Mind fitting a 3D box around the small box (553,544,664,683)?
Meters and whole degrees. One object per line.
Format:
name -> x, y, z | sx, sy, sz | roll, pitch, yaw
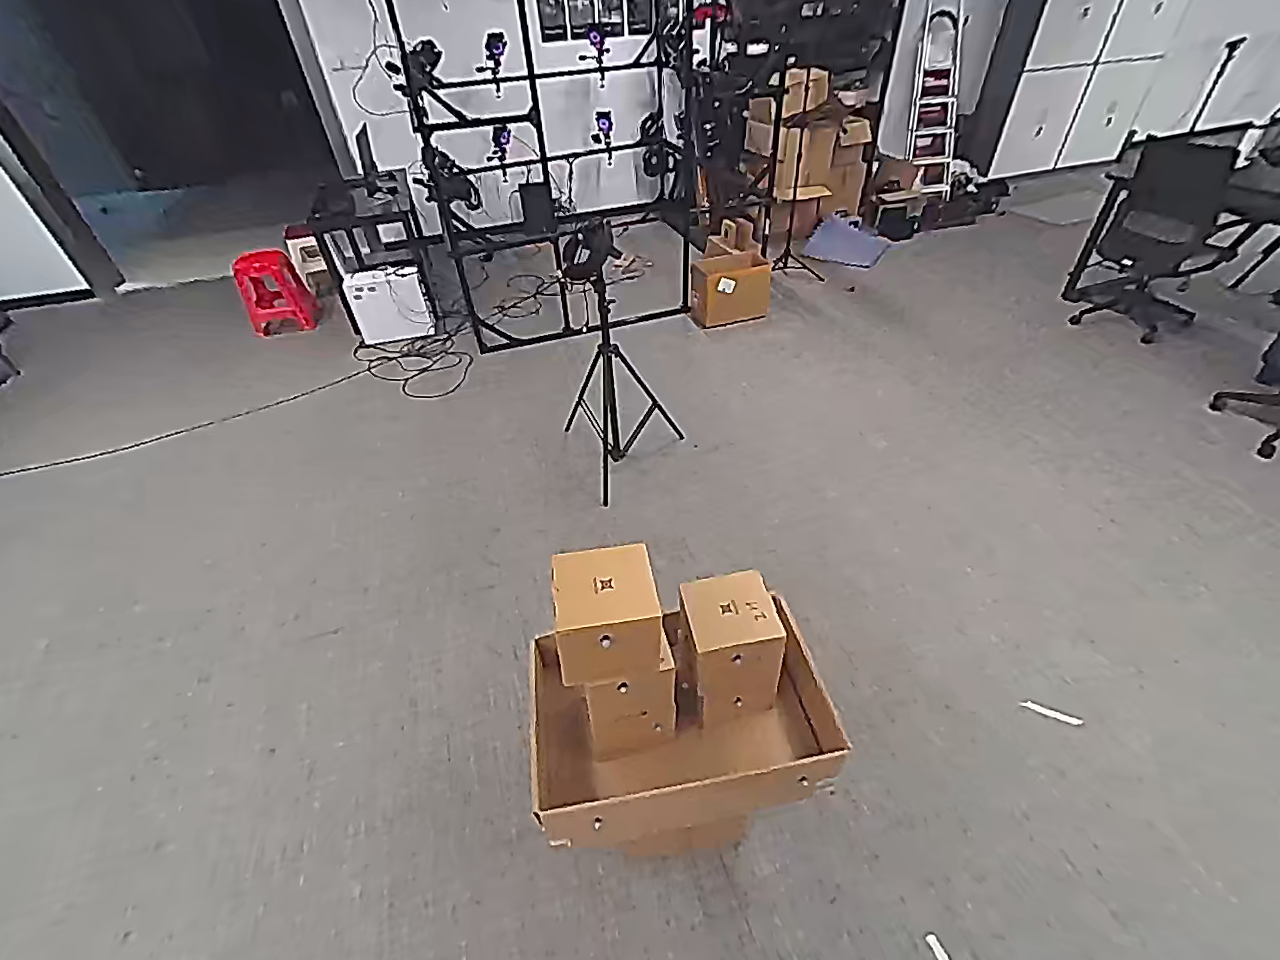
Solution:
small box -> -0.058, 0.241, 0.973 | 0.179, 0.176, 0.168 | -8, 41, -6
